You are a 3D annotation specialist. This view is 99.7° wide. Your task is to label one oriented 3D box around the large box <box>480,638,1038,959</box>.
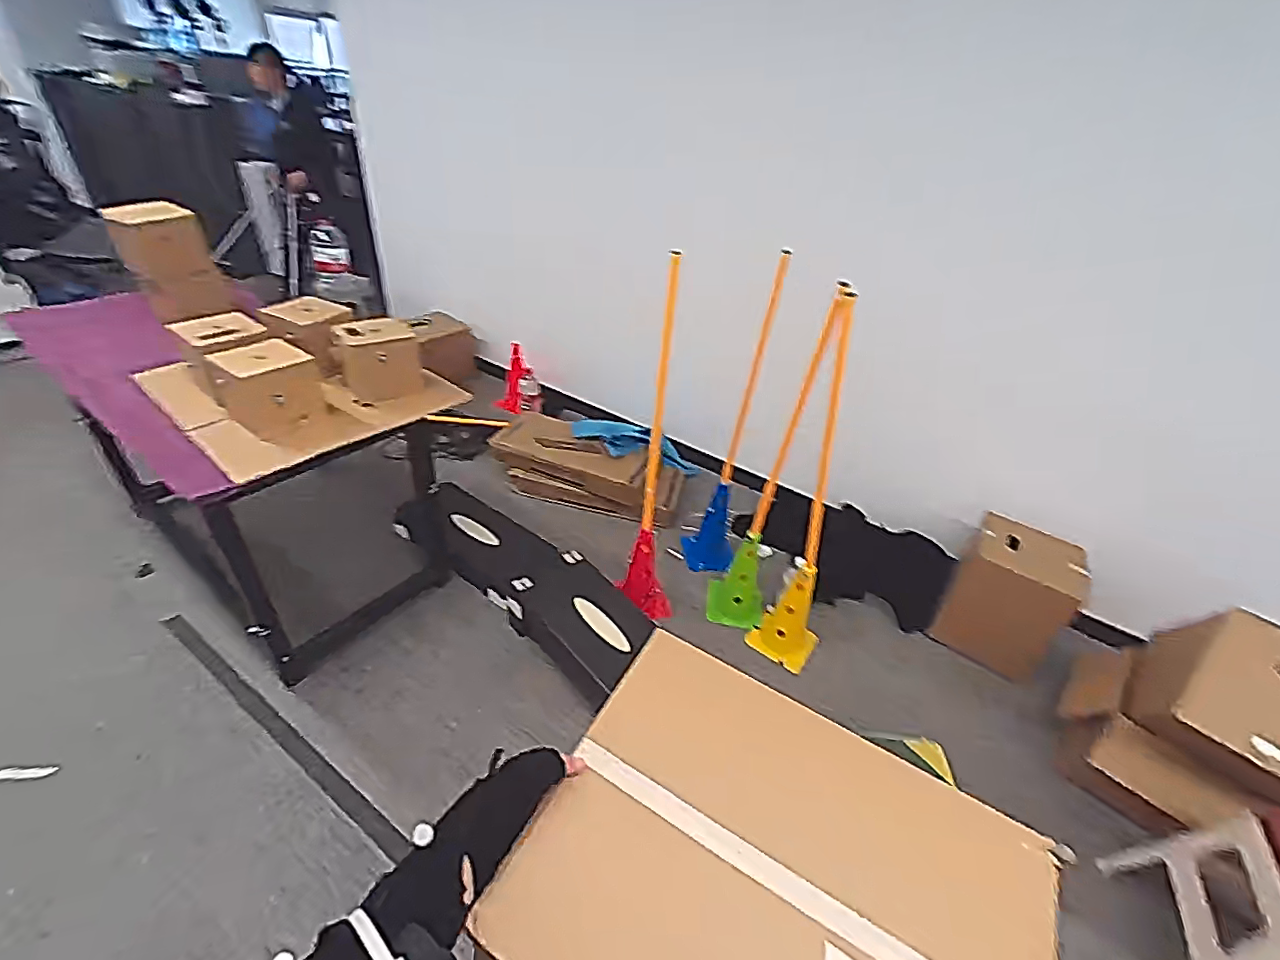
[{"bbox_3d":[0.105,0.448,0.559,0.408,0.320,0.320,24,46,20],"label":"large box"}]
